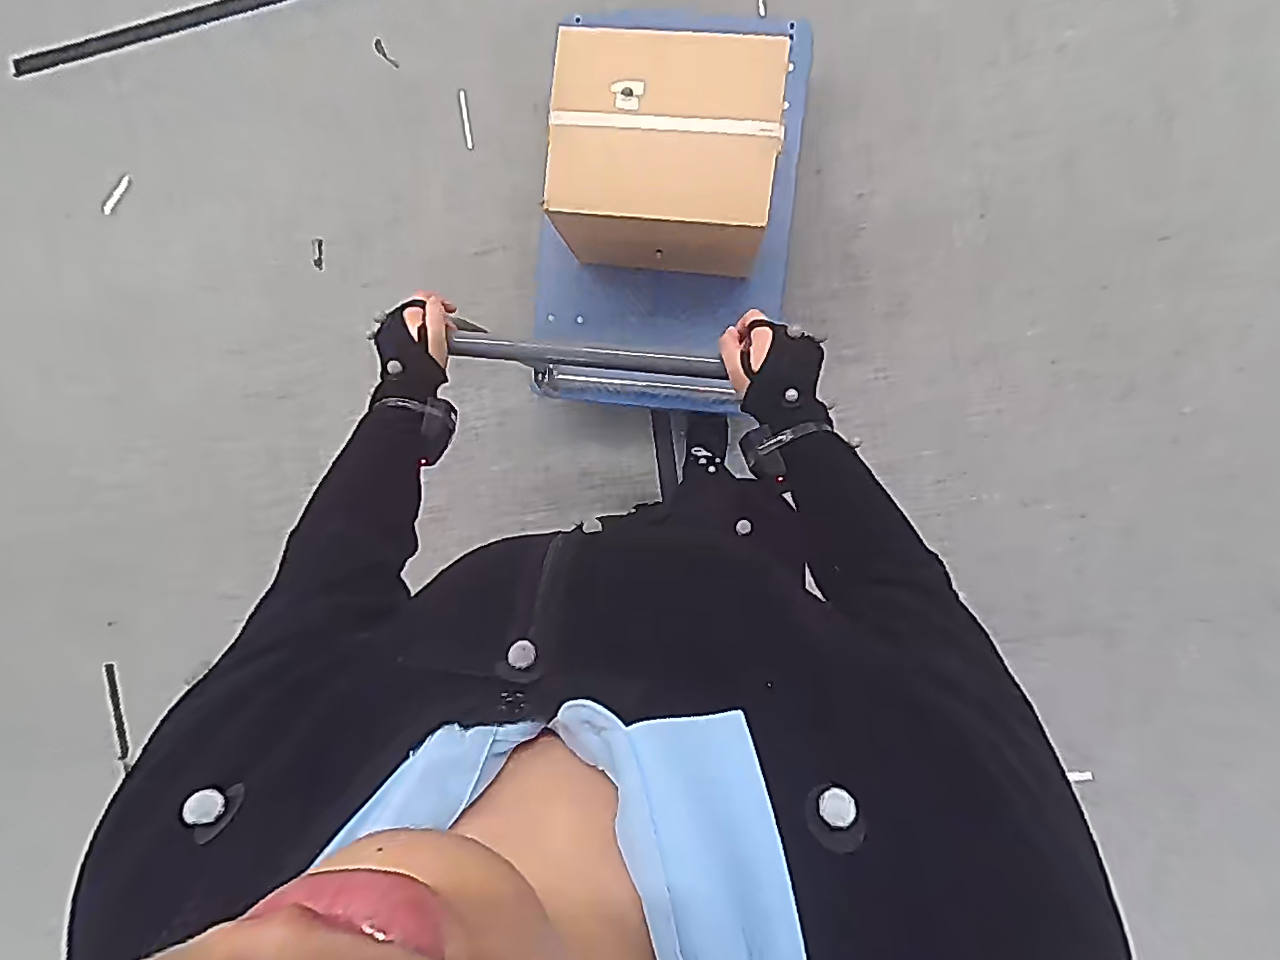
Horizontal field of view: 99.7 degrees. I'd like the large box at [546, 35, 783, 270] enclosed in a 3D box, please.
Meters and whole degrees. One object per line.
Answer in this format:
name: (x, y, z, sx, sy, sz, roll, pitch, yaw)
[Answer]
large box: (0.056, -0.637, 1.105, 0.408, 0.320, 0.320, 7, 94, 6)
